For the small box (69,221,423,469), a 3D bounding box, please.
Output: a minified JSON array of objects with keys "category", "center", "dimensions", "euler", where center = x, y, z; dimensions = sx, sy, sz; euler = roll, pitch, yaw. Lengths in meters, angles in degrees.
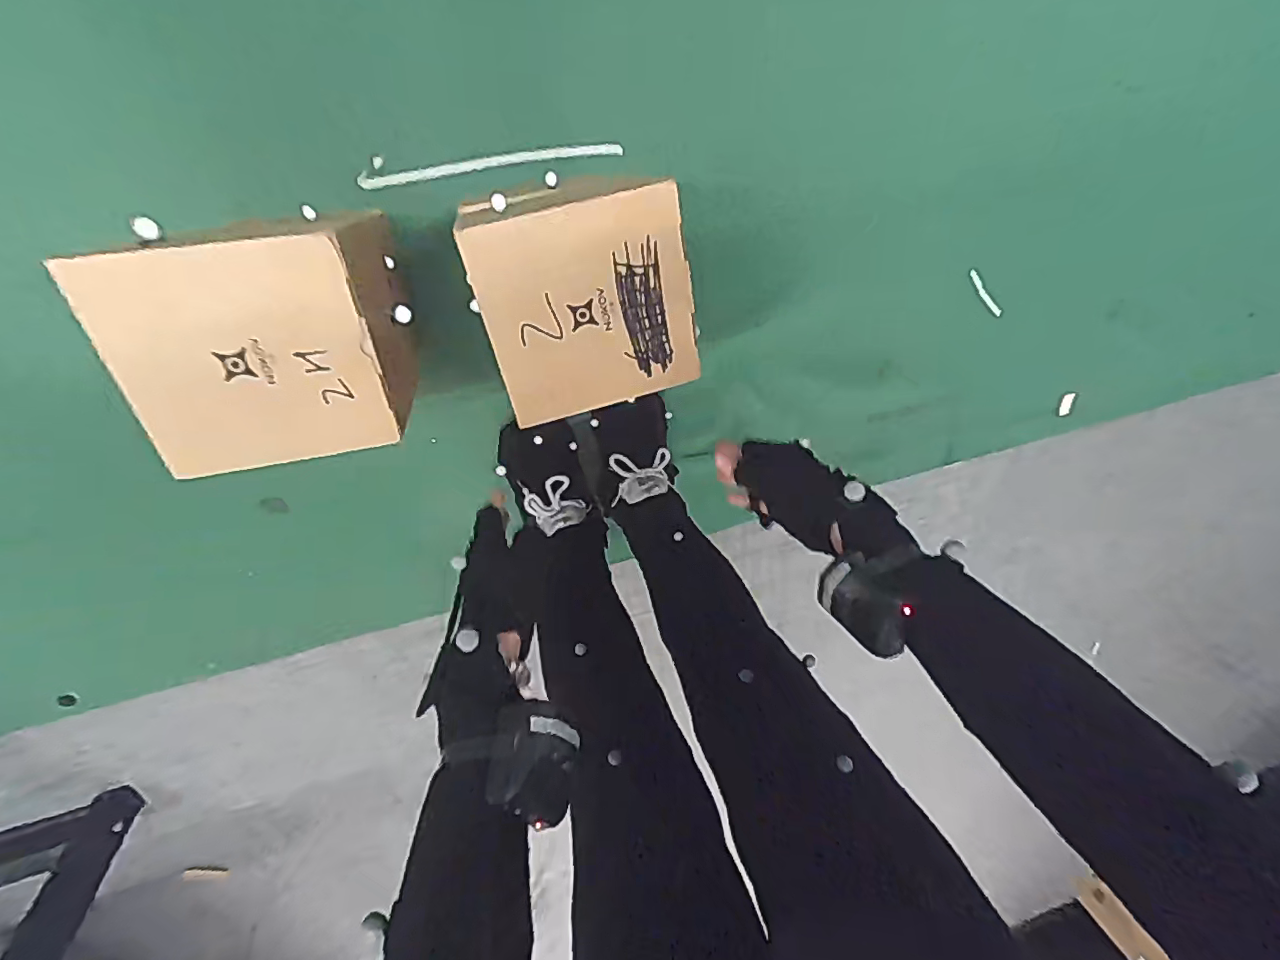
[{"category":"small box","center":[-0.308,-0.129,0.477],"dimensions":[0.179,0.176,0.168],"euler":[-11,120,-10]}]
